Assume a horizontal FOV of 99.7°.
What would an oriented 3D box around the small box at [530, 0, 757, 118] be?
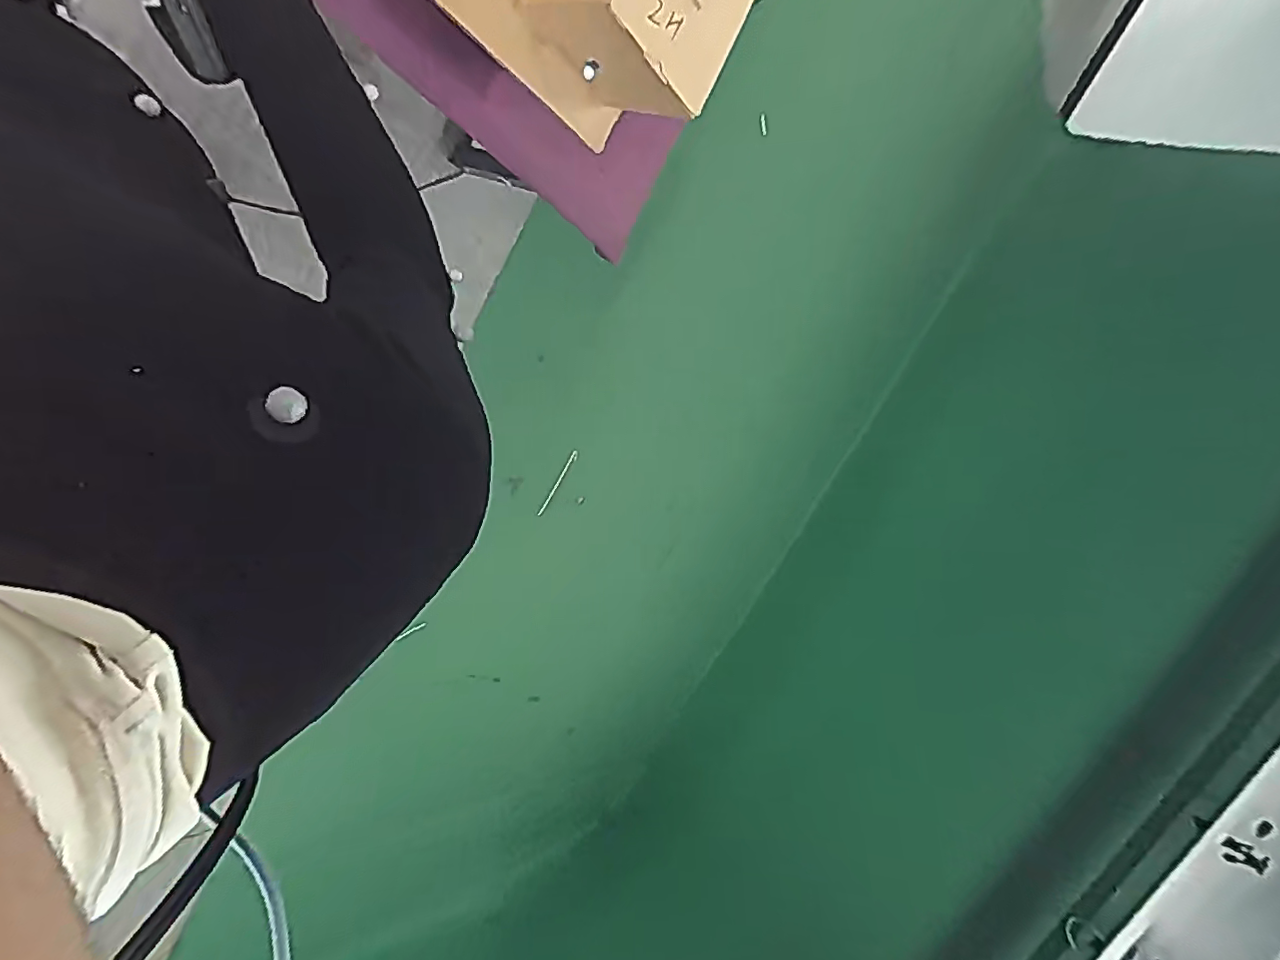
[{"bbox_3d":[0.006,-0.551,0.603,0.168,0.176,0.179,14,109,-52],"label":"small box"}]
